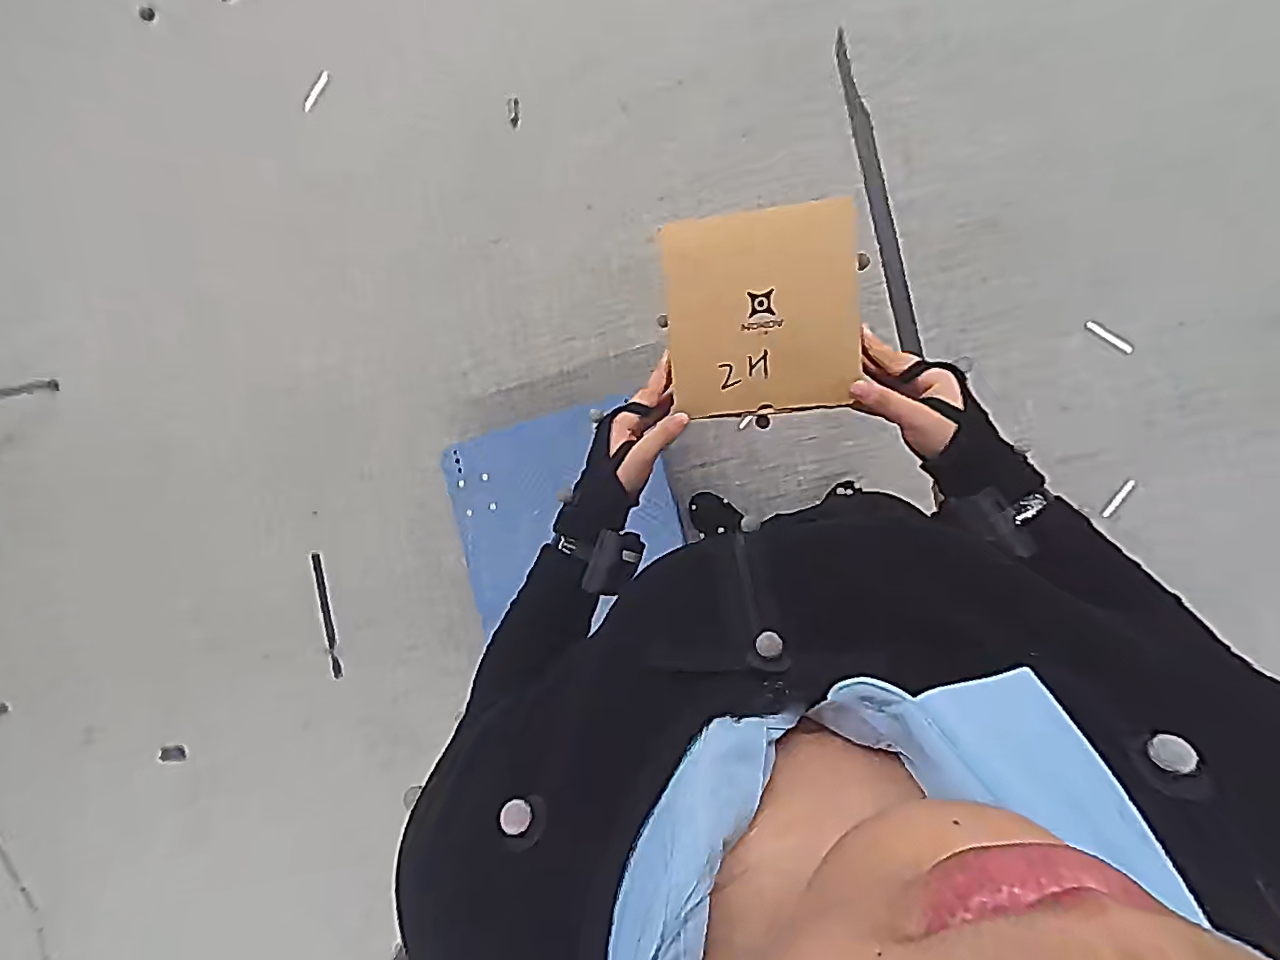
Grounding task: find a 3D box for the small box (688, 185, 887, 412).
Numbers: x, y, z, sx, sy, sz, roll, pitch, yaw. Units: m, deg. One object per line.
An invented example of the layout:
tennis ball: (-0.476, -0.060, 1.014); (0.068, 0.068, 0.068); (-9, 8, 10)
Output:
small box: (0.139, -0.161, 0.540); (0.168, 0.176, 0.179); (-2, 96, 12)
